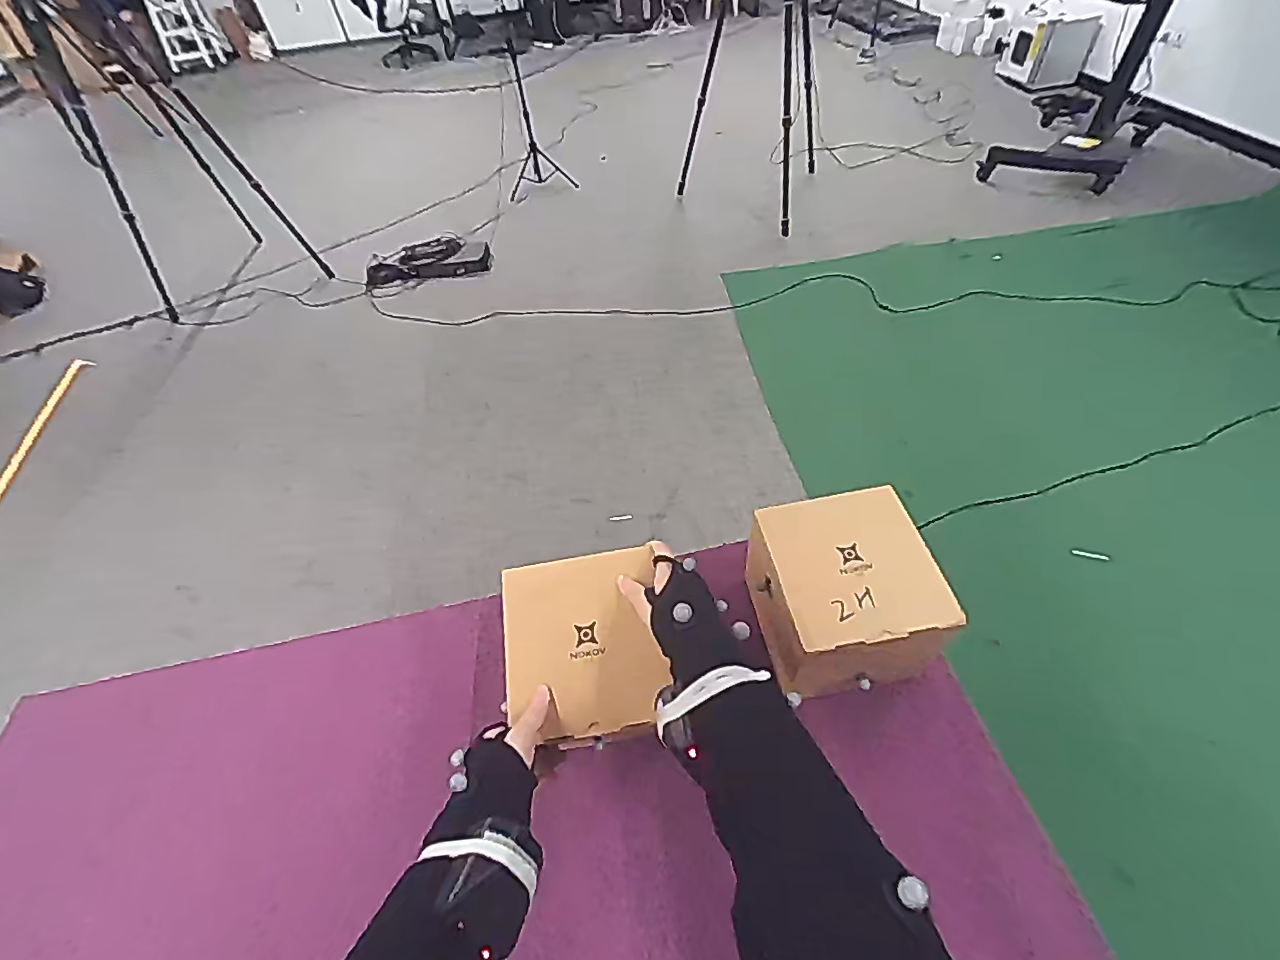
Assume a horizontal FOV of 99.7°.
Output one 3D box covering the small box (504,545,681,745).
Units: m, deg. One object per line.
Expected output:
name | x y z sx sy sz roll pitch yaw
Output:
small box | -0.050 0.193 0.614 0.168 0.176 0.179 -9 63 -1

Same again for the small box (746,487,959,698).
small box | 0.229 0.136 0.642 0.168 0.176 0.179 -10 53 -1
